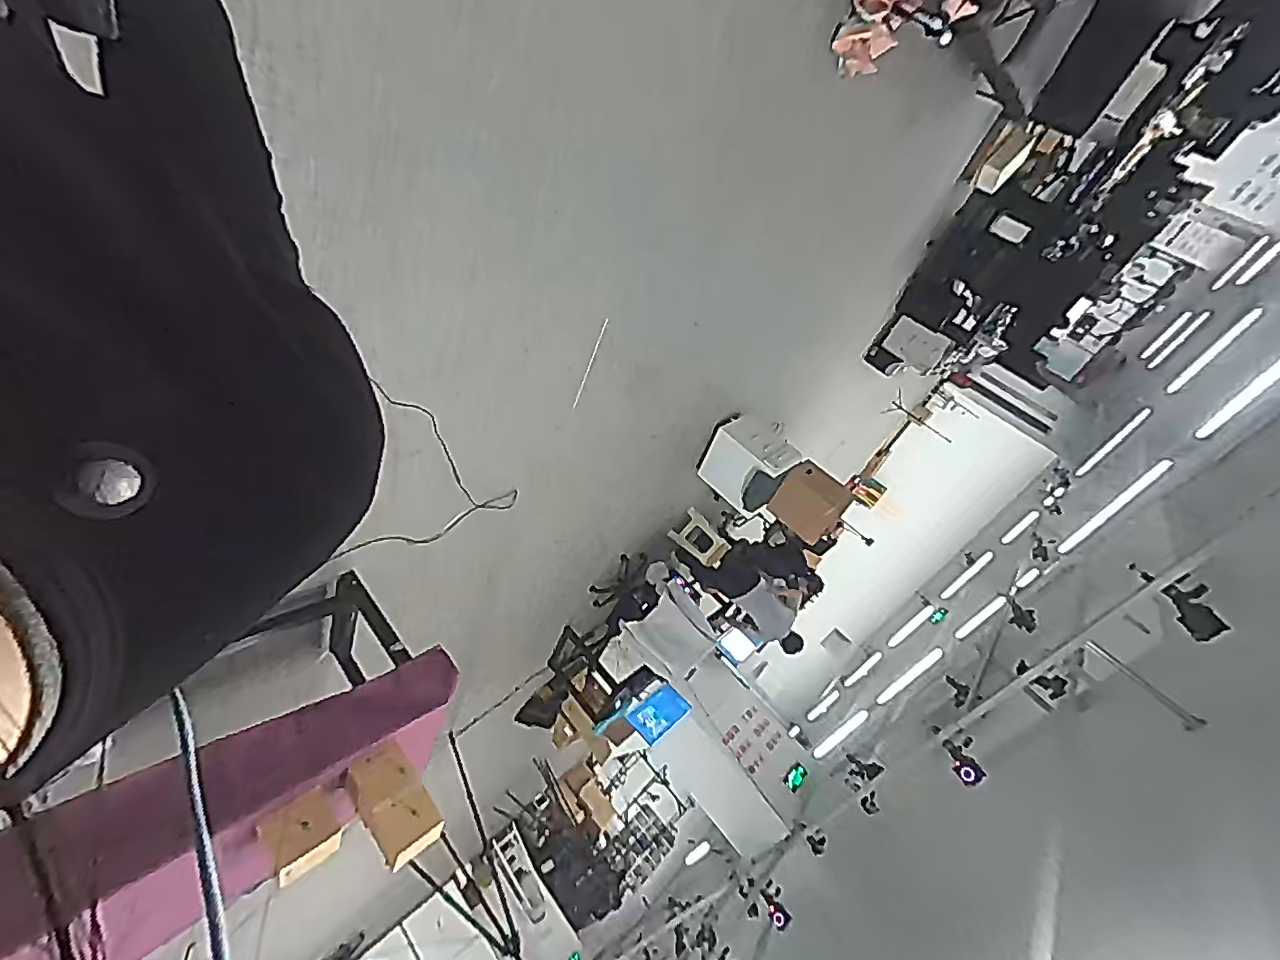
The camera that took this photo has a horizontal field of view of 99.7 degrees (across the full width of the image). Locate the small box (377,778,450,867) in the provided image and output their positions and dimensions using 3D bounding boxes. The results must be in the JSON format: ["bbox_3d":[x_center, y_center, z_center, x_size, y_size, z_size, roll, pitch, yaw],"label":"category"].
[{"bbox_3d":[-0.763,1.141,1.812,0.168,0.176,0.179,-21,148,-44],"label":"small box"}]

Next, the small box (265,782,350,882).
[{"bbox_3d":[-1.036,1.088,1.683,0.179,0.176,0.168,-19,145,-46],"label":"small box"}]
